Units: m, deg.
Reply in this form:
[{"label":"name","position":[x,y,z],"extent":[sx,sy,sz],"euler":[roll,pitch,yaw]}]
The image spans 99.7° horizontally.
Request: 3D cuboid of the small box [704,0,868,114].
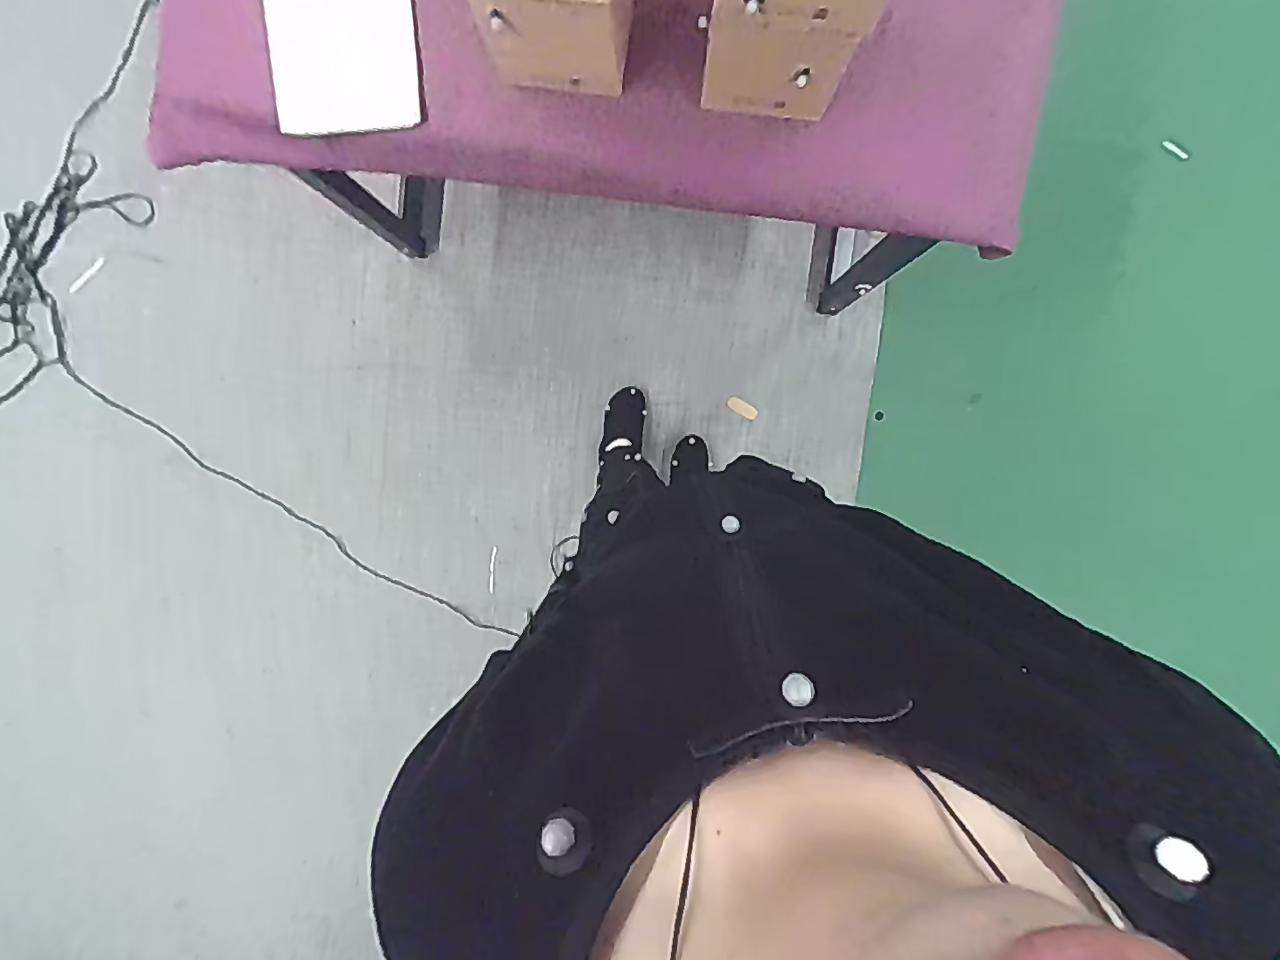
[{"label":"small box","position":[0.173,-0.581,0.650],"extent":[0.168,0.176,0.179],"euler":[8,93,0]}]
